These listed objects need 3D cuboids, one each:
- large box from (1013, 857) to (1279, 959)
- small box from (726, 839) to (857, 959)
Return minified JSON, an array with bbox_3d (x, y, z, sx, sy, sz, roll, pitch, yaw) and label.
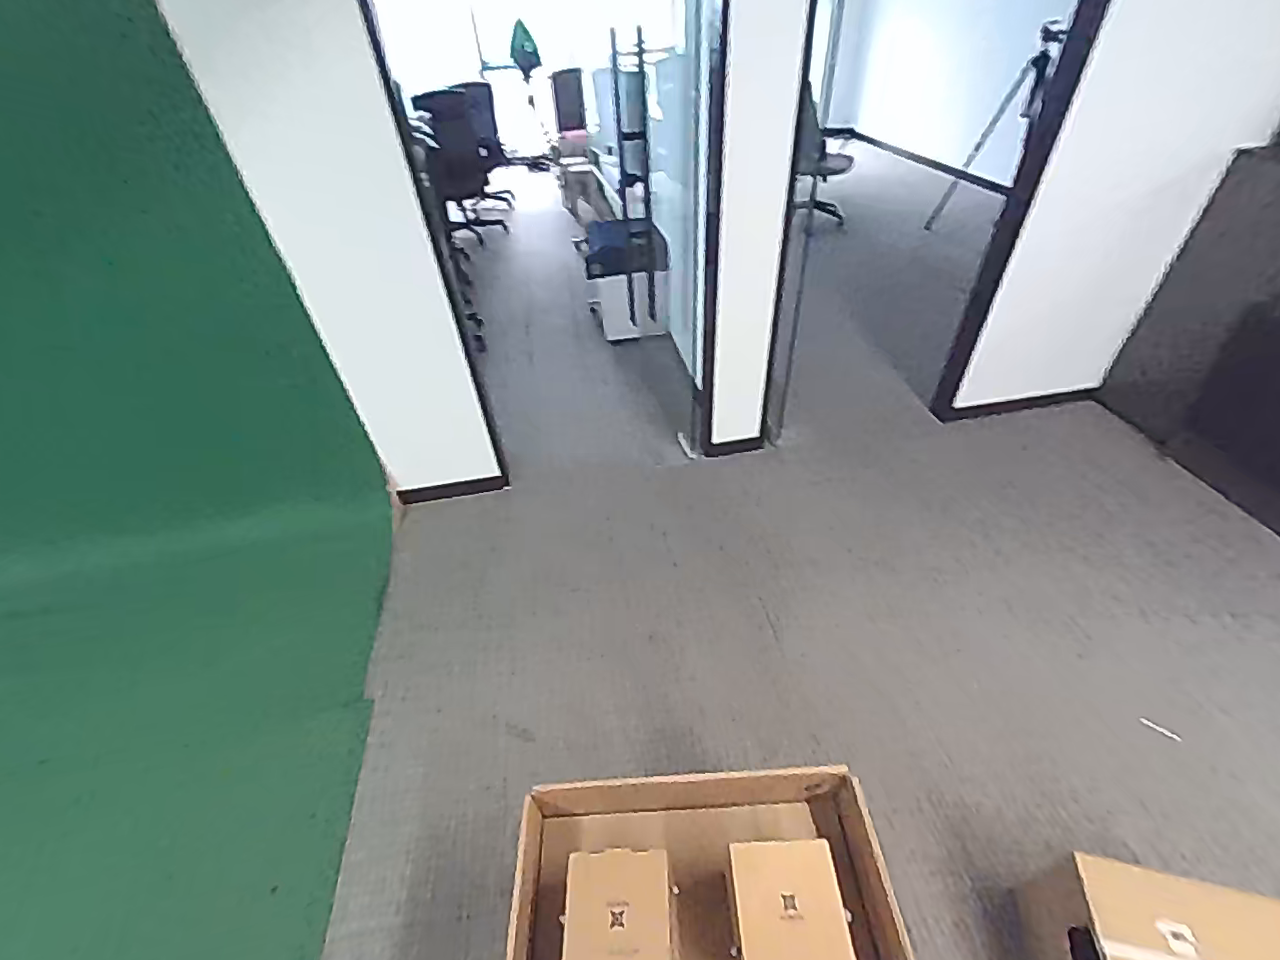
[{"bbox_3d":[1.037,0.997,1.049,0.408,0.320,0.320,7,43,13],"label":"large box"},{"bbox_3d":[0.238,0.718,0.891,0.168,0.176,0.179,-3,43,1],"label":"small box"}]
